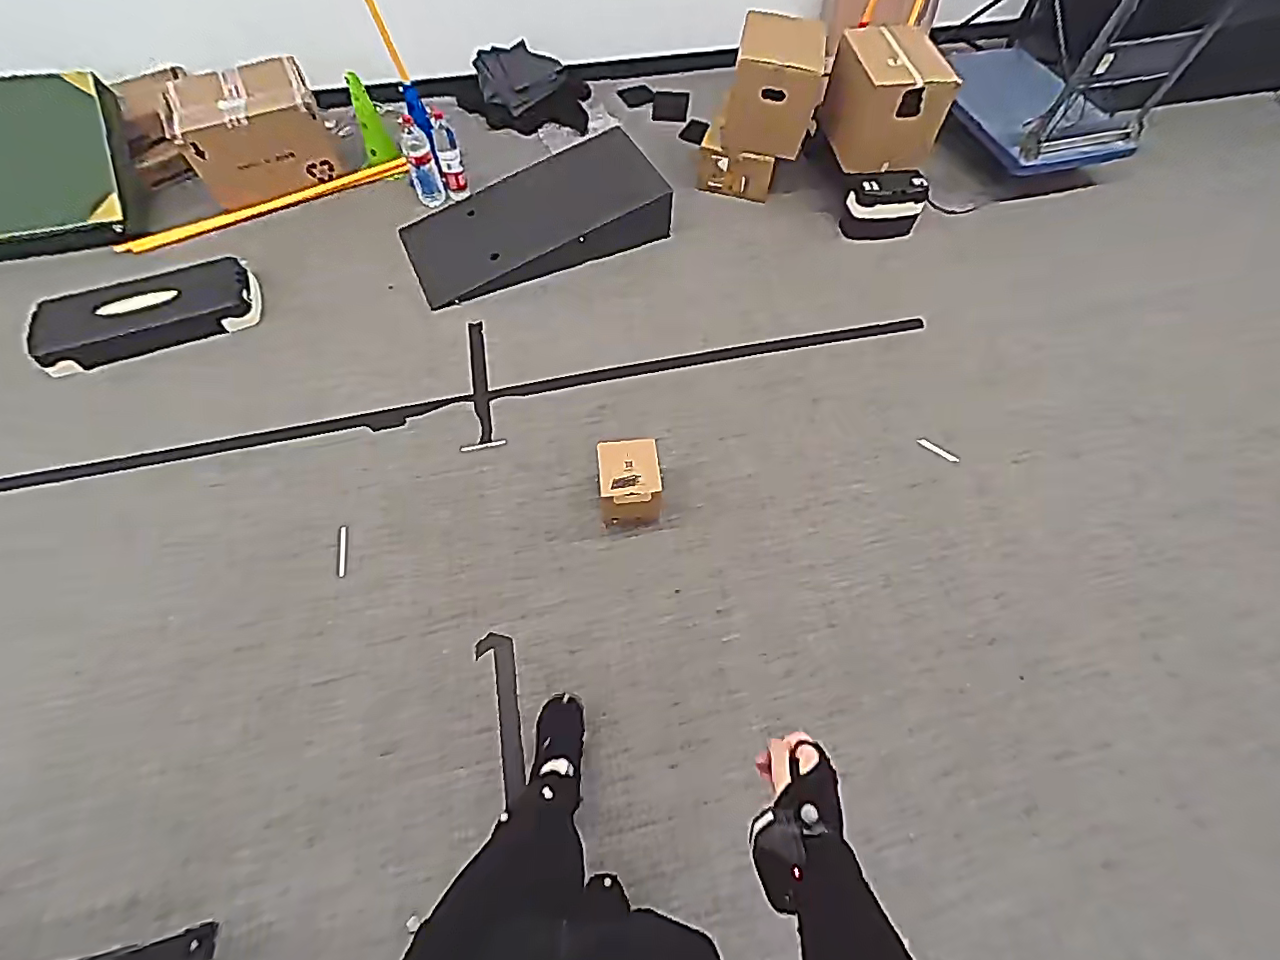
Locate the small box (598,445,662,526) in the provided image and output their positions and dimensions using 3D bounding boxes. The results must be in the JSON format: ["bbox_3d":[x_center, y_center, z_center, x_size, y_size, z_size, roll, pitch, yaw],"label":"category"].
[{"bbox_3d":[-0.029,0.022,1.538,0.168,0.176,0.179,-5,60,-4],"label":"small box"}]
